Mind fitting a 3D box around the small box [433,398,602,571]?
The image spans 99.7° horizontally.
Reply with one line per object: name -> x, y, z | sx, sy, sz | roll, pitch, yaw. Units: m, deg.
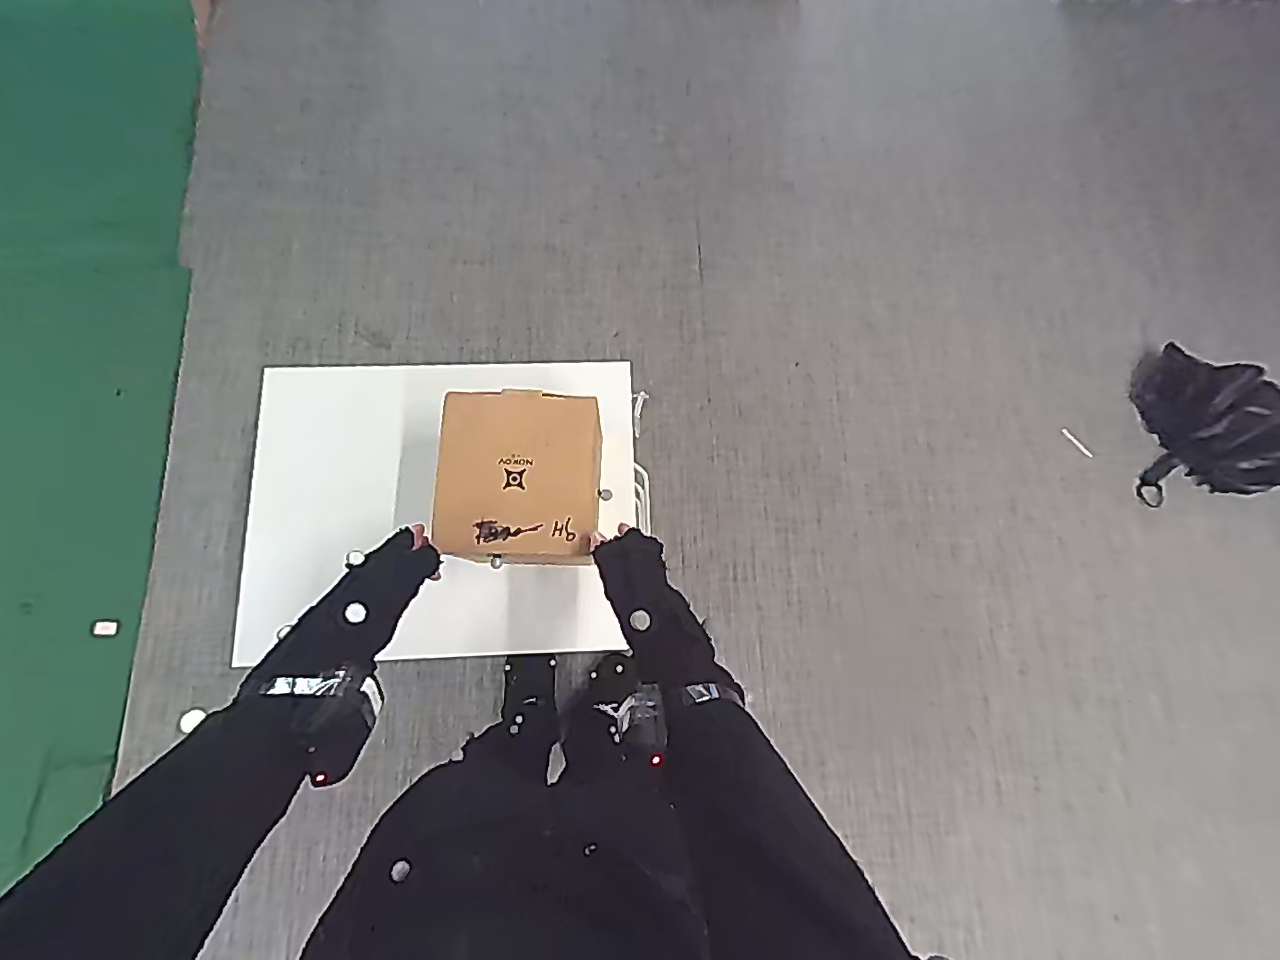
small box -> -0.134, 0.015, 0.657 | 0.168, 0.176, 0.179 | 2, 77, -1
